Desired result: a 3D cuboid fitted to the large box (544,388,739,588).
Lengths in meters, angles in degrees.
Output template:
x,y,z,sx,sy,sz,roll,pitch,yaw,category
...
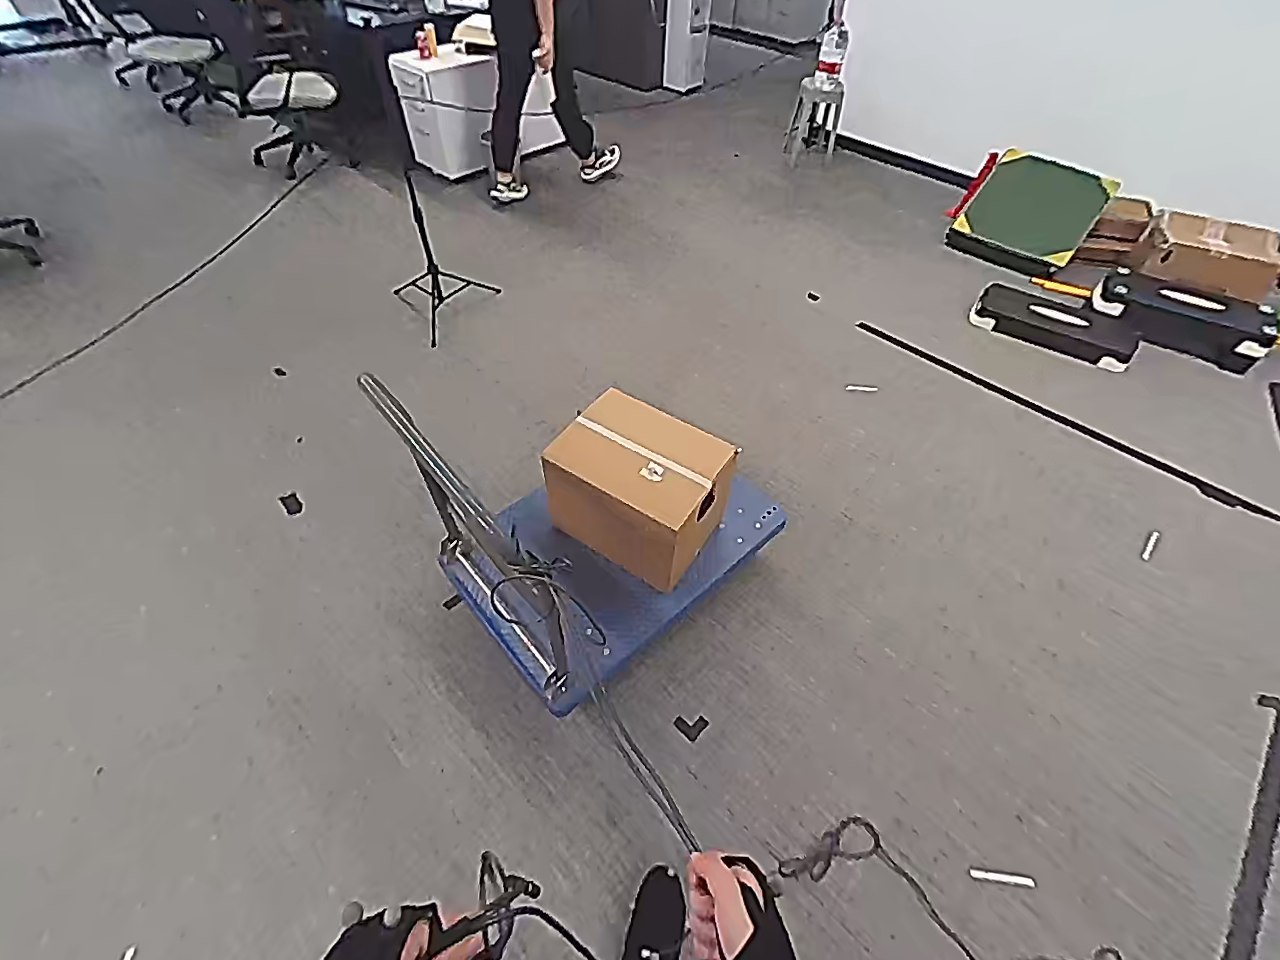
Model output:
x,y,z,sx,sy,sz,roll,pitch,yaw,category
-0.002,0.019,1.469,0.408,0.320,0.320,29,56,18,large box
